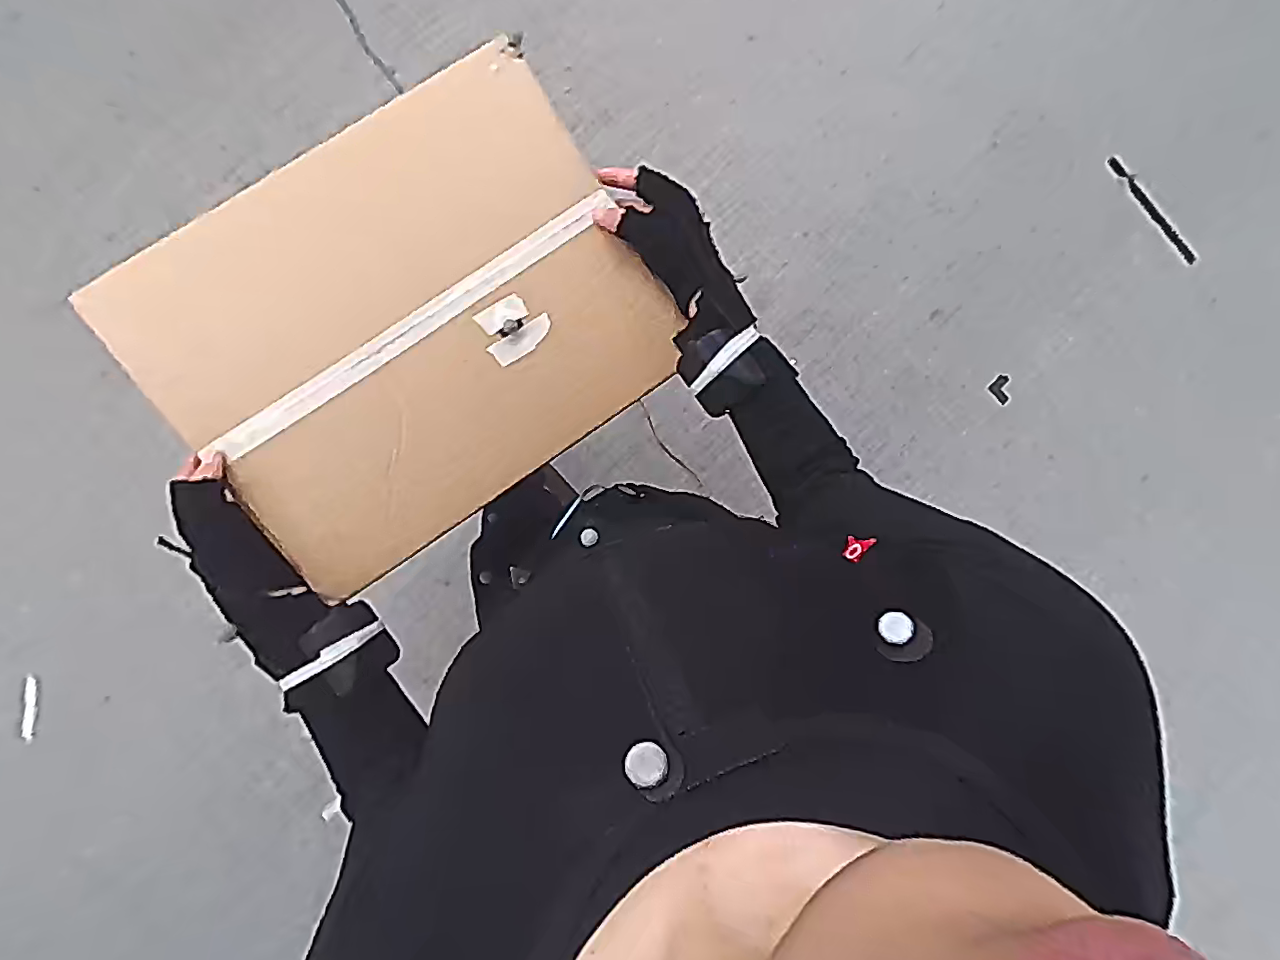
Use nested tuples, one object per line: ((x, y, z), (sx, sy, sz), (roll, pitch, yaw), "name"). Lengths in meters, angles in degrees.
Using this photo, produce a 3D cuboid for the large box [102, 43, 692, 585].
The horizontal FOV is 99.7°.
((-0.216, -0.152, 0.618), (0.408, 0.320, 0.320), (-35, 100, -6), "large box")
